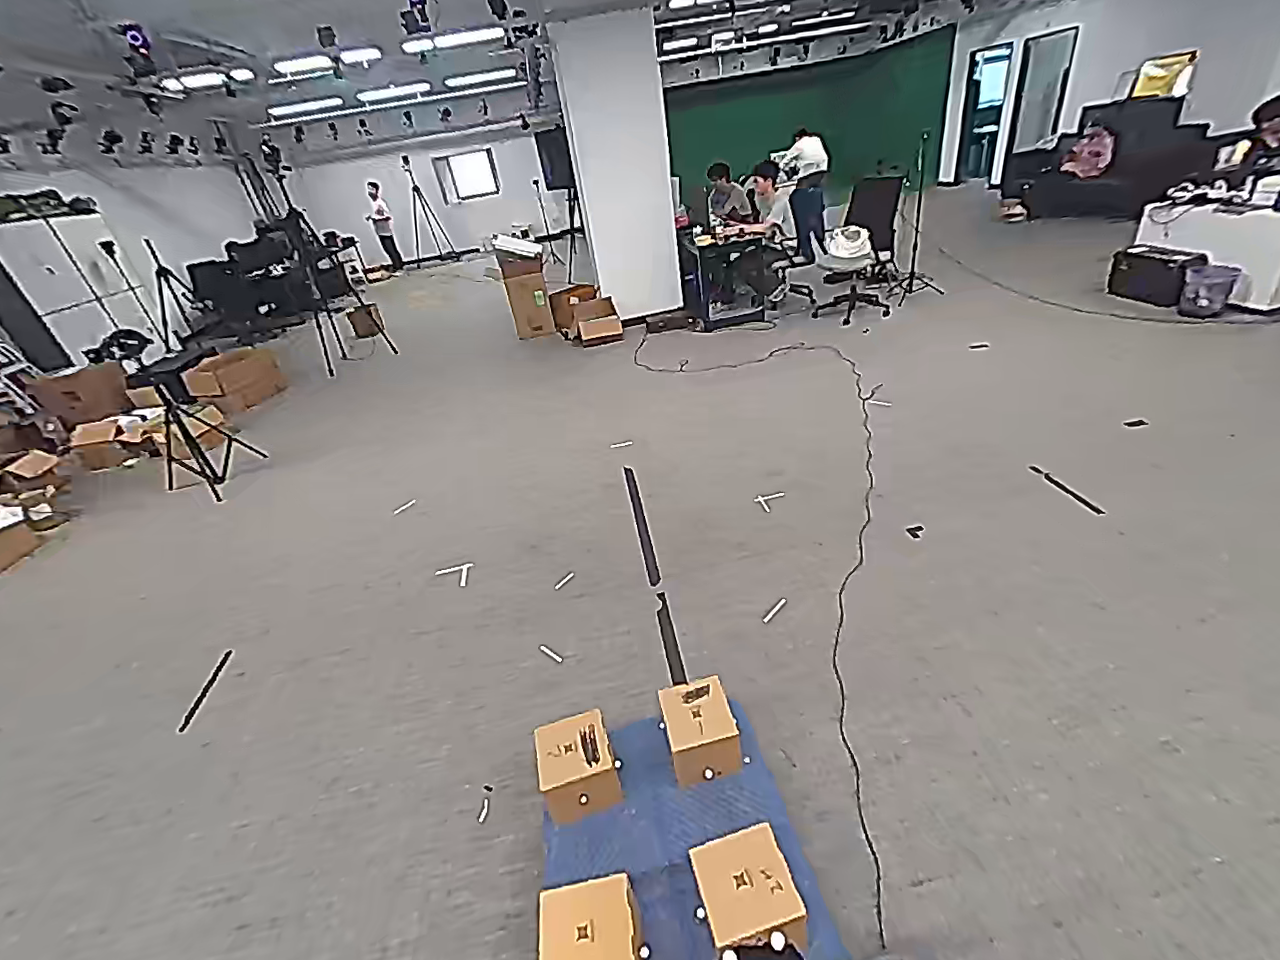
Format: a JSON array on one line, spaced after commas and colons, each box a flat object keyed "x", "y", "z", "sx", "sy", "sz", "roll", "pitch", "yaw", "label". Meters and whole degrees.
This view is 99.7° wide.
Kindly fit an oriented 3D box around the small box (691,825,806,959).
[{"x": 0.215, "y": 0.833, "z": 1.067, "sx": 0.179, "sy": 0.176, "sz": 0.168, "roll": -15, "pitch": 32, "yaw": -7, "label": "small box"}]

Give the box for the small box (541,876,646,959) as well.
[{"x": -0.085, "y": 0.909, "z": 1.038, "sx": 0.179, "sy": 0.176, "sz": 0.168, "roll": -11, "pitch": 31, "yaw": -3, "label": "small box"}]

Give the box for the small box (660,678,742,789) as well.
[{"x": 0.155, "y": 0.647, "z": 1.384, "sx": 0.168, "sy": 0.176, "sz": 0.179, "roll": -13, "pitch": 33, "yaw": -4, "label": "small box"}]
